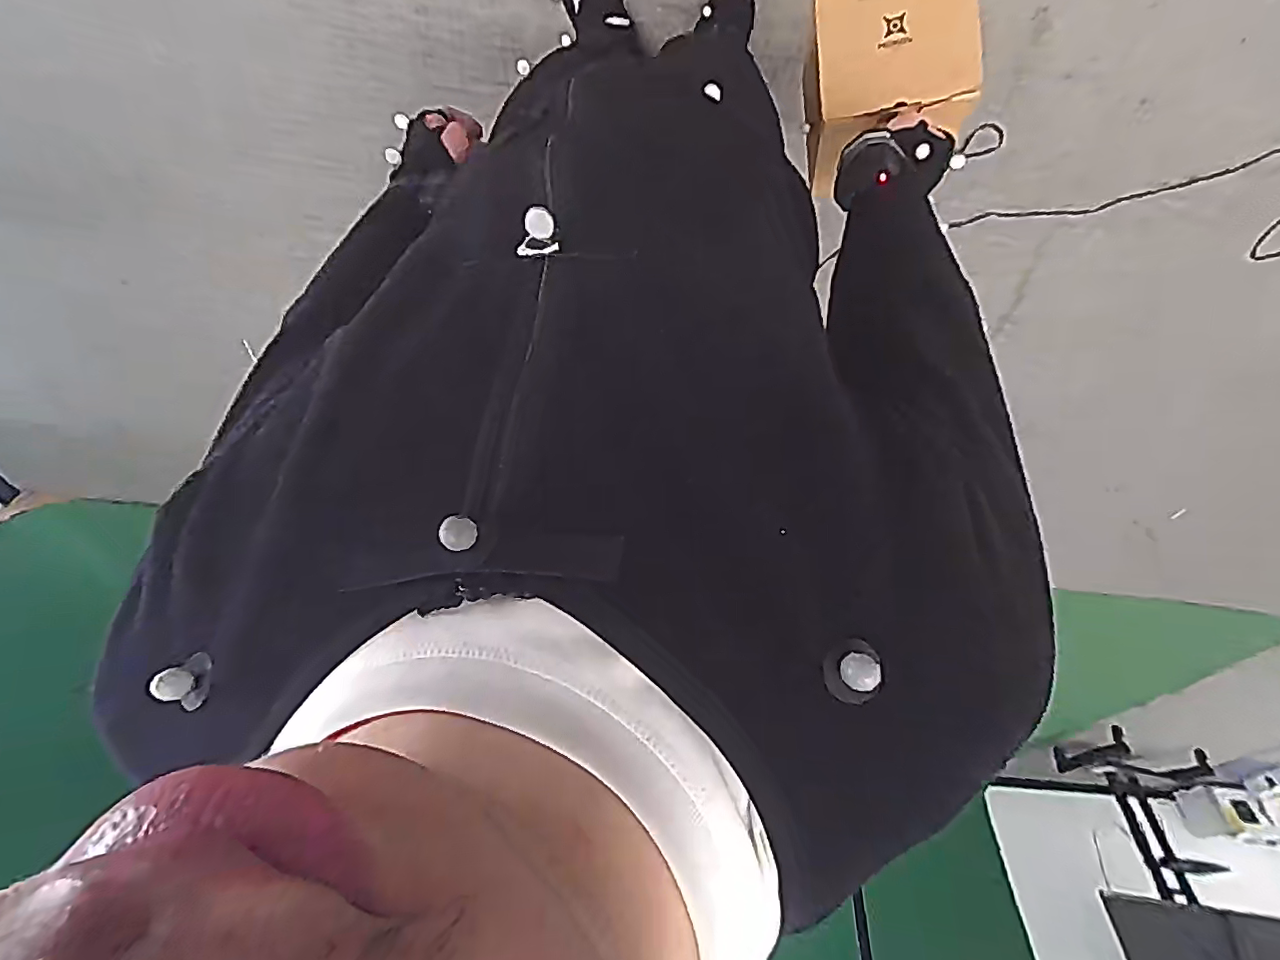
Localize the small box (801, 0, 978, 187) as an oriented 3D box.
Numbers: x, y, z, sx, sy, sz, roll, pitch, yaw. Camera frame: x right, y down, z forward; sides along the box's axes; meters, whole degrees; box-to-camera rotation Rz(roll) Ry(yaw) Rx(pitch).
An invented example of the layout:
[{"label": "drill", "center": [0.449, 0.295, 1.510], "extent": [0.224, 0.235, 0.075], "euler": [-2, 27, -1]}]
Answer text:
[{"label": "small box", "center": [0.296, -0.492, 0.673], "extent": [0.168, 0.179, 0.176], "euler": [-4, 179, 11]}]
